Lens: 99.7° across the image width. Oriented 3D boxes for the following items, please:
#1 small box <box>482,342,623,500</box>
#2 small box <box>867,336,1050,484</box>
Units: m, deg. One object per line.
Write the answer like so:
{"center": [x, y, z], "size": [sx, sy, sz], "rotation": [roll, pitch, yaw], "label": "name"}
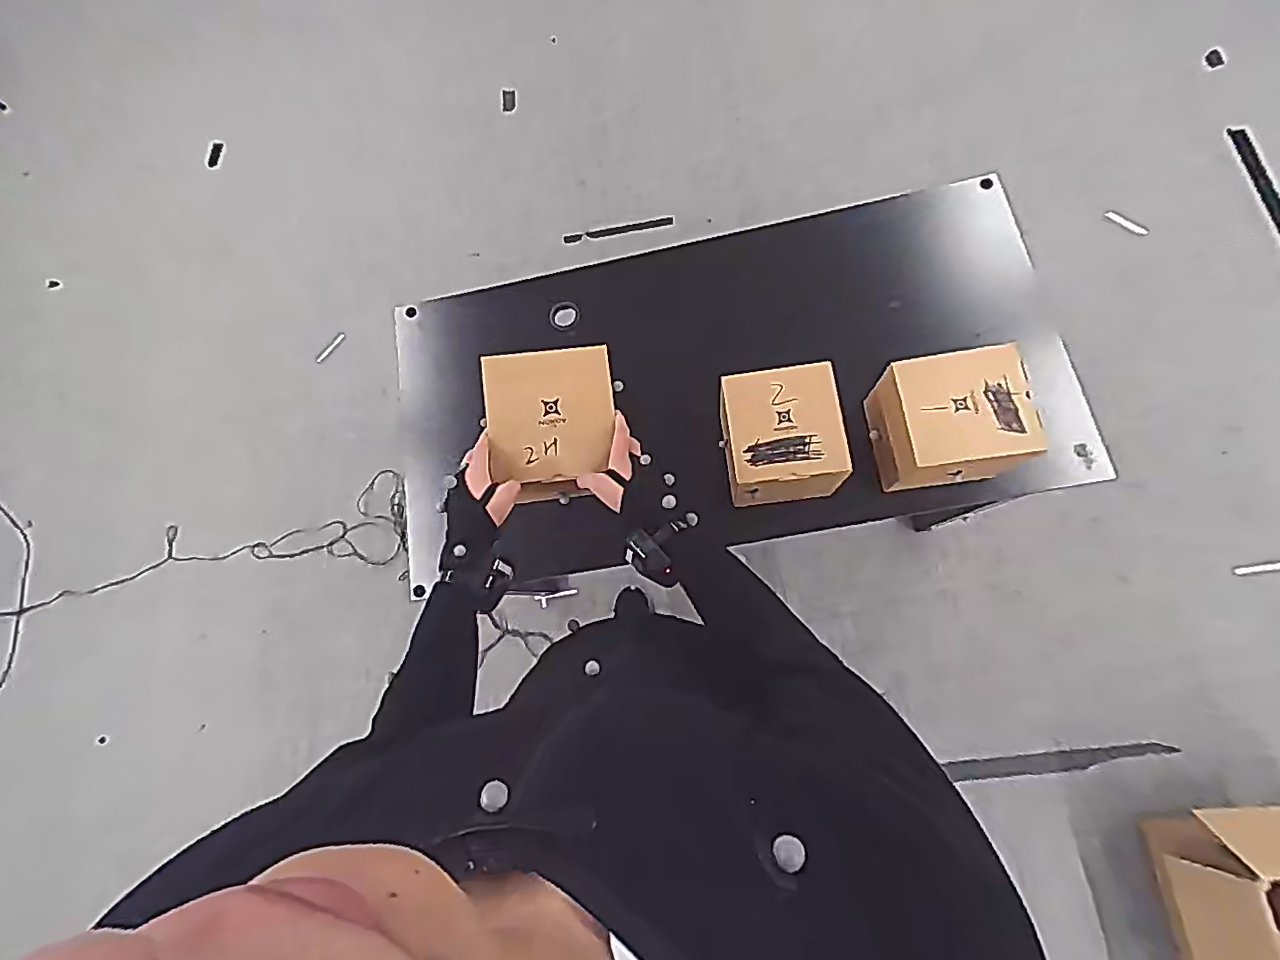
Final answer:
{"center": [-0.118, -0.075, 0.766], "size": [0.168, 0.176, 0.179], "rotation": [-7, 82, -4], "label": "small box"}
{"center": [0.474, -0.098, 0.835], "size": [0.179, 0.176, 0.168], "rotation": [-9, 76, 7], "label": "small box"}
